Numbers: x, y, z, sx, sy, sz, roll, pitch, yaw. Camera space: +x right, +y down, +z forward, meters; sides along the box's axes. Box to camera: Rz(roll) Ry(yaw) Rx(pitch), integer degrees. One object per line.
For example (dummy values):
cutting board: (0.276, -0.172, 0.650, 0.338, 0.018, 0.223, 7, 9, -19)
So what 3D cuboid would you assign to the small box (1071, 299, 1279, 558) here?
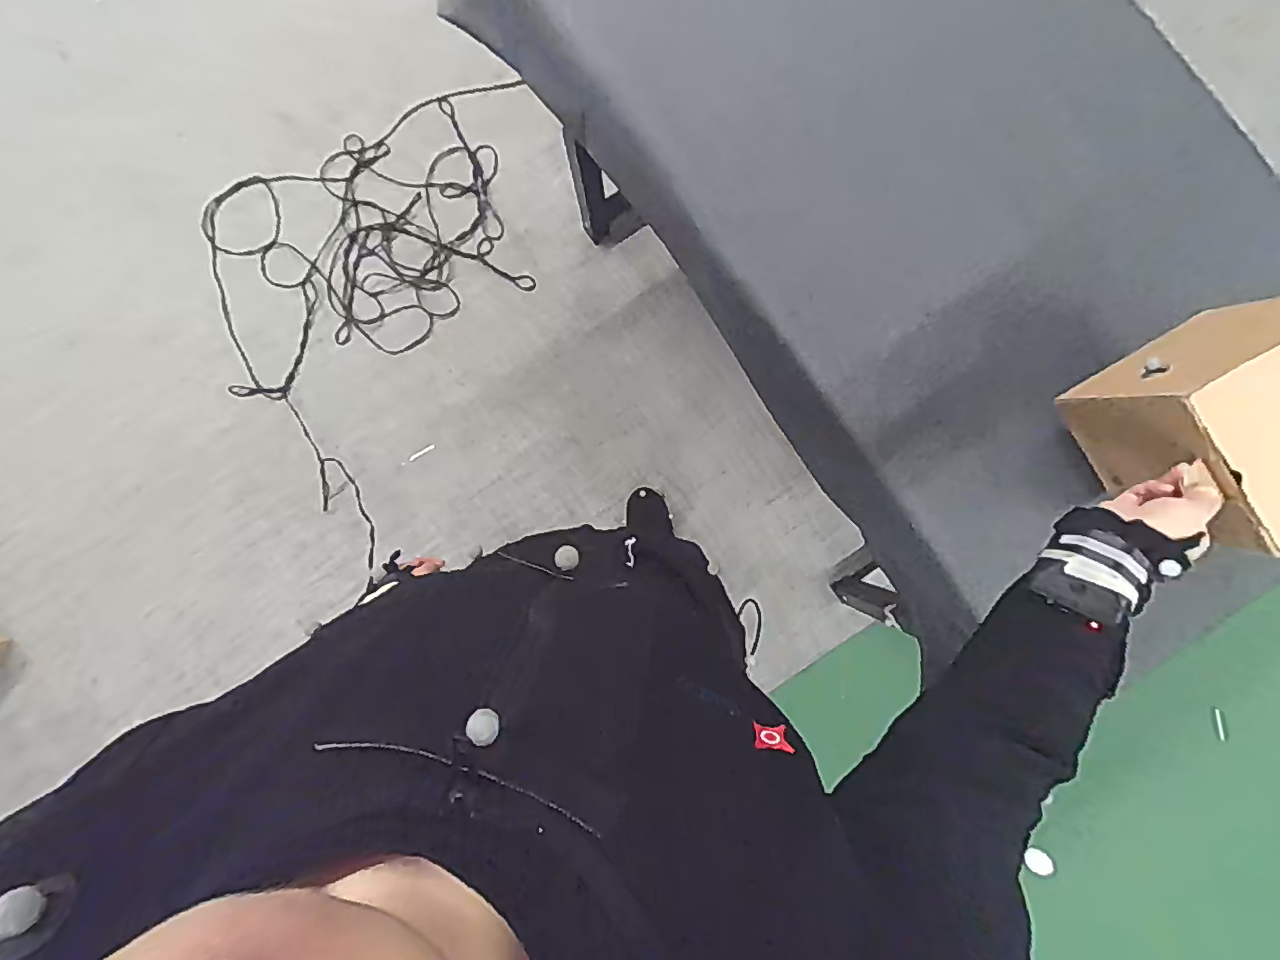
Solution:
small box: (0.565, -0.055, 0.512, 0.179, 0.176, 0.168, -34, 93, 8)
